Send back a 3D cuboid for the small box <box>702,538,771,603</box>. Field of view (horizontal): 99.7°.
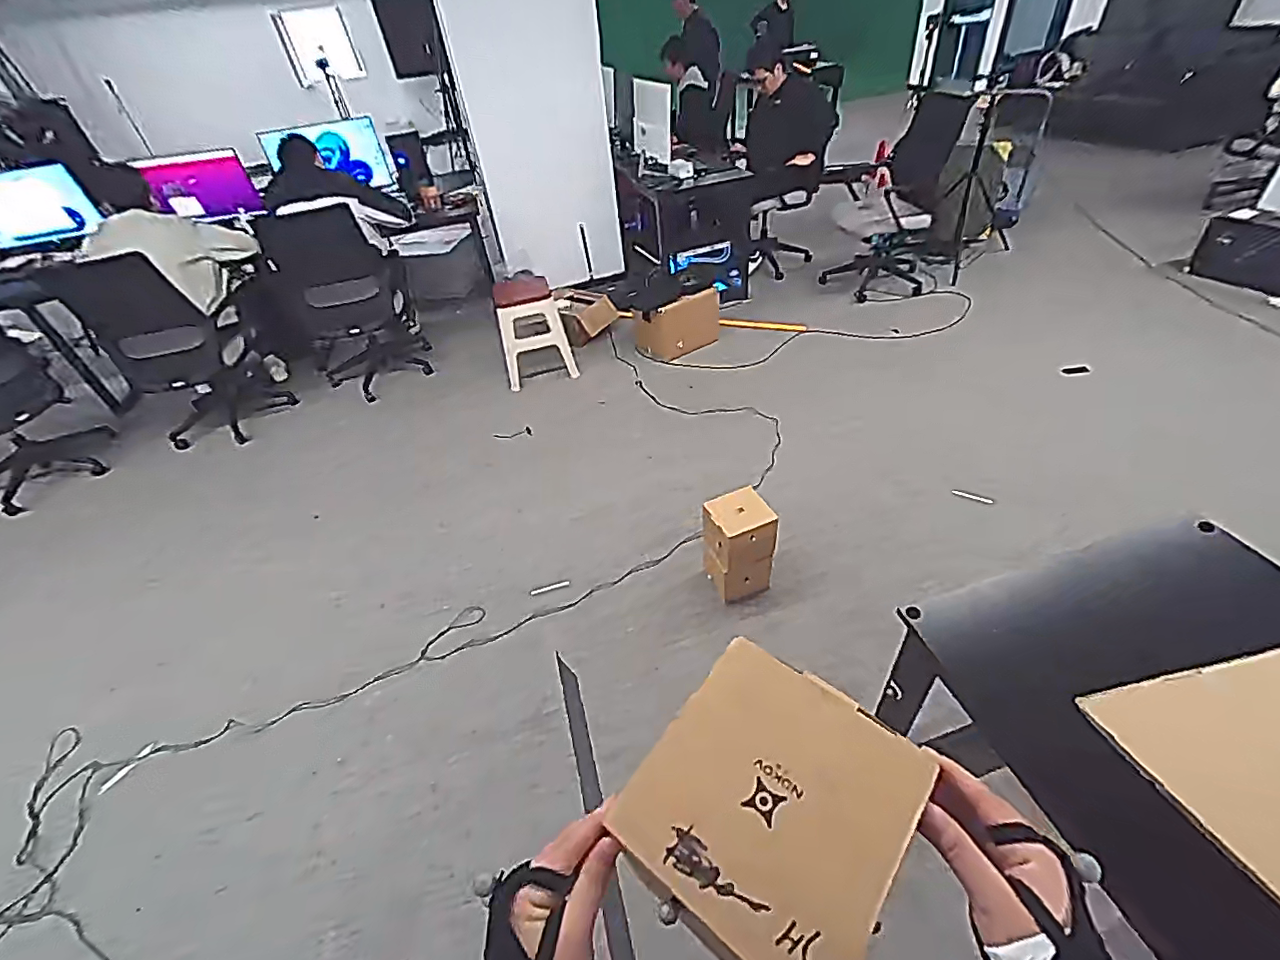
[{"bbox_3d":[0.321,0.284,1.825,0.179,0.176,0.168,-18,42,-11],"label":"small box"}]

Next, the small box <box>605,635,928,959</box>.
[{"bbox_3d":[0.096,0.269,0.432,0.168,0.176,0.179,26,53,32],"label":"small box"}]

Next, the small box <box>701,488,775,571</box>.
[{"bbox_3d":[0.310,0.160,1.720,0.179,0.176,0.168,-19,43,-14],"label":"small box"}]
